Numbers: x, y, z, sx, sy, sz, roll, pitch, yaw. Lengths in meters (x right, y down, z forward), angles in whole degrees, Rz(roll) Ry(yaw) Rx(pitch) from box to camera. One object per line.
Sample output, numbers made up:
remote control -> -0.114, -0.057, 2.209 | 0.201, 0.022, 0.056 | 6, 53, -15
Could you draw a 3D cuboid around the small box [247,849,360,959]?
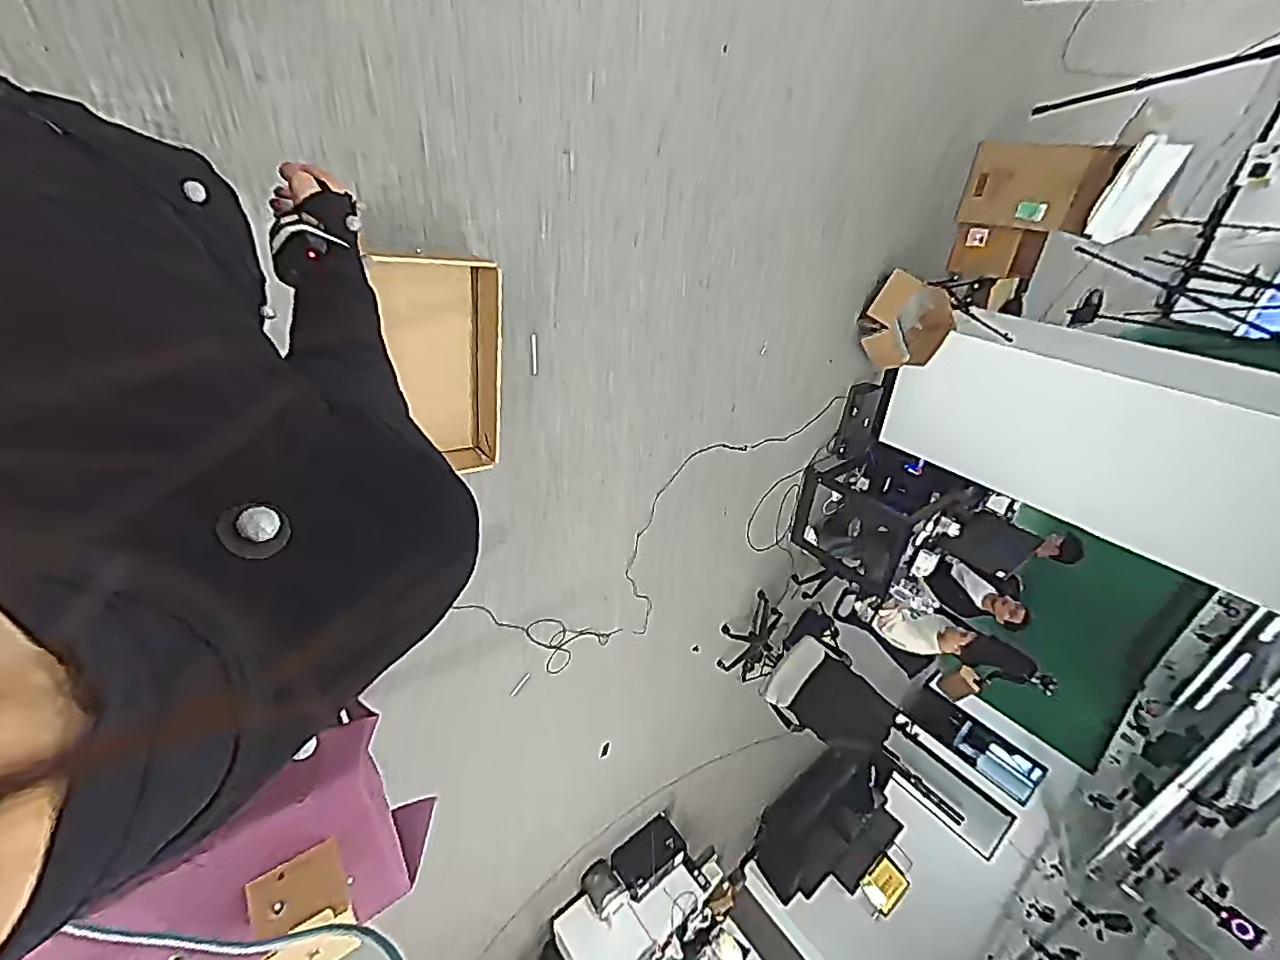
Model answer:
small box -> -0.725, 0.946, 1.165 | 0.168, 0.176, 0.179 | -15, 126, -36
